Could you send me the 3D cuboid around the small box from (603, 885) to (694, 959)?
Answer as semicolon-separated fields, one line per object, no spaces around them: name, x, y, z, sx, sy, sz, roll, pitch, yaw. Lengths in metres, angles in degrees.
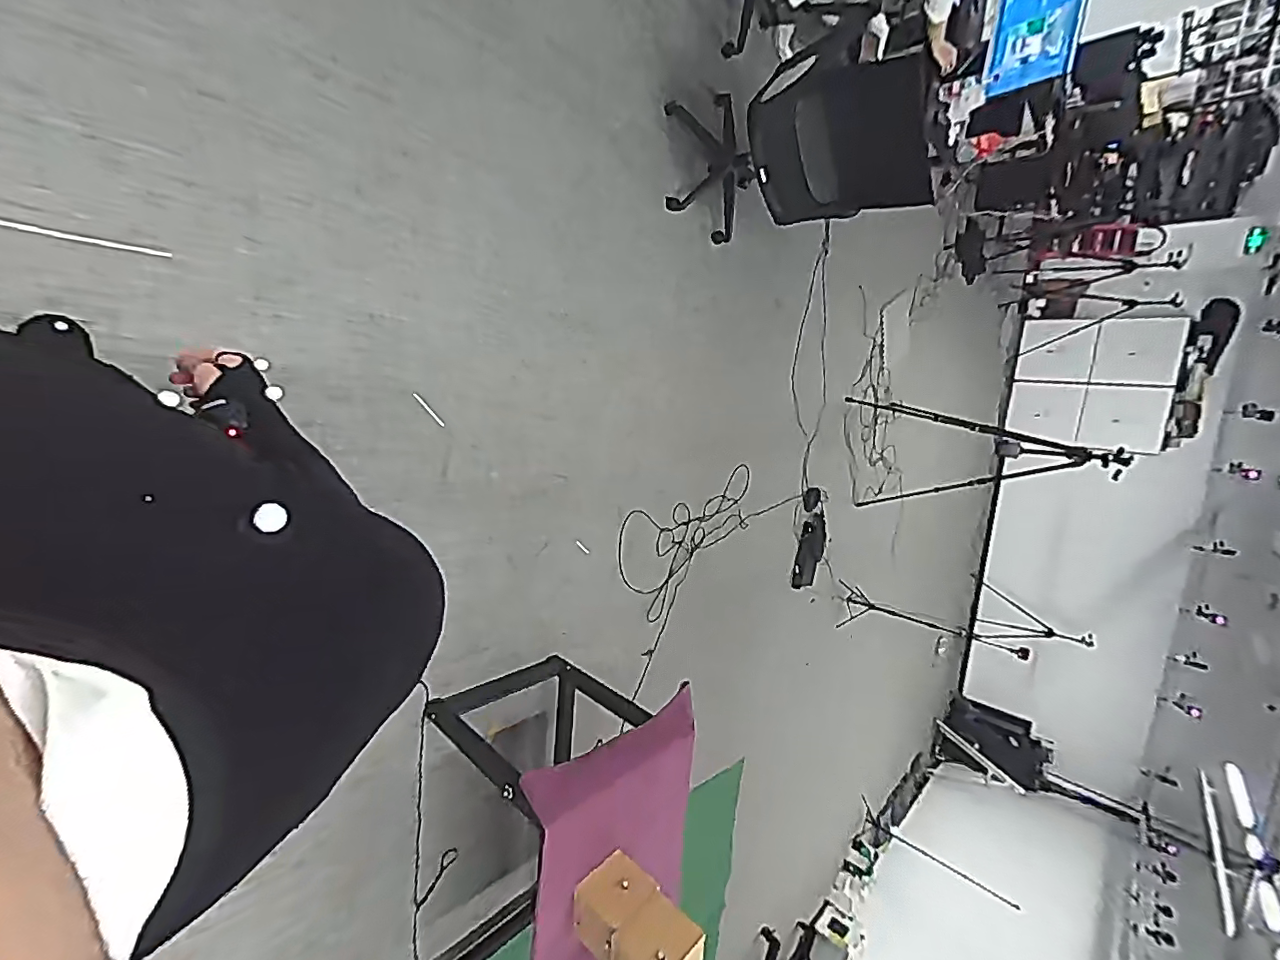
small box;0.018;1.219;1.402;0.179;0.176;0.168;-10;109;-47

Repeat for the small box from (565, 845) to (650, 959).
small box;-0.092;1.188;1.523;0.179;0.176;0.168;-12;109;-47
